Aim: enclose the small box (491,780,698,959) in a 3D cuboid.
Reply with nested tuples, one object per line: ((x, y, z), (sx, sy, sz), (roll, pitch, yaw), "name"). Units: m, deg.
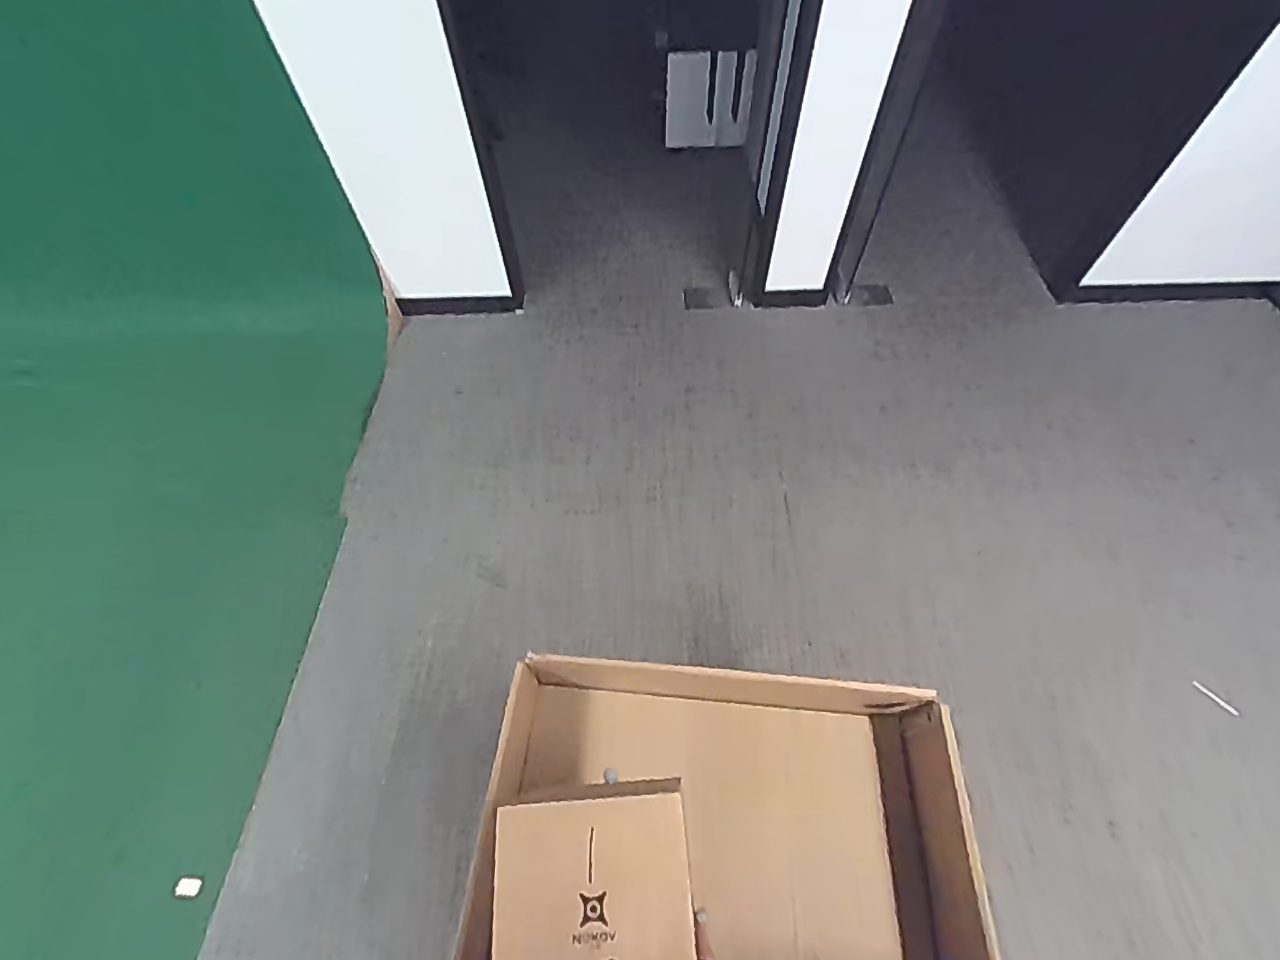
((-0.033, 0.392, 0.508), (0.168, 0.176, 0.179), (-5, 64, 1), "small box")
